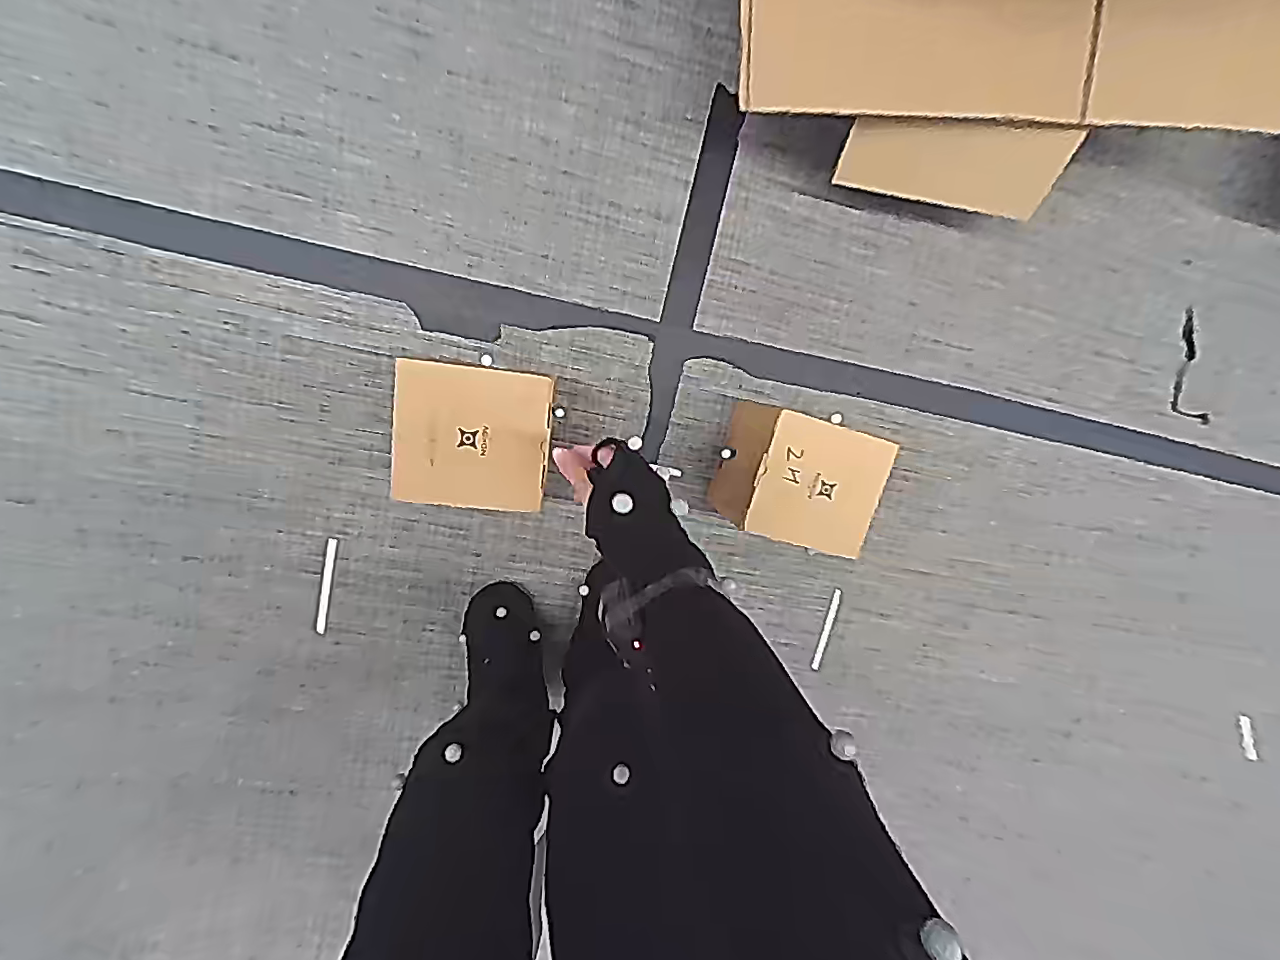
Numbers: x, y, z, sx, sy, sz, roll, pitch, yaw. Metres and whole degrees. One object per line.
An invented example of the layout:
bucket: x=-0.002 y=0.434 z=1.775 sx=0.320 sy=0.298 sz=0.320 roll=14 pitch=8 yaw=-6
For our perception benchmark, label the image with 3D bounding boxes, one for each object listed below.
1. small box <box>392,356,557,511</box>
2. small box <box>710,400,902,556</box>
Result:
small box: x=-0.200 y=-0.066 z=0.695 sx=0.179 sy=0.176 sz=0.168 roll=5 pitch=101 yaw=-9
small box: x=0.222 y=-0.012 z=0.770 sx=0.179 sy=0.176 sz=0.168 roll=15 pitch=99 yaw=-12
